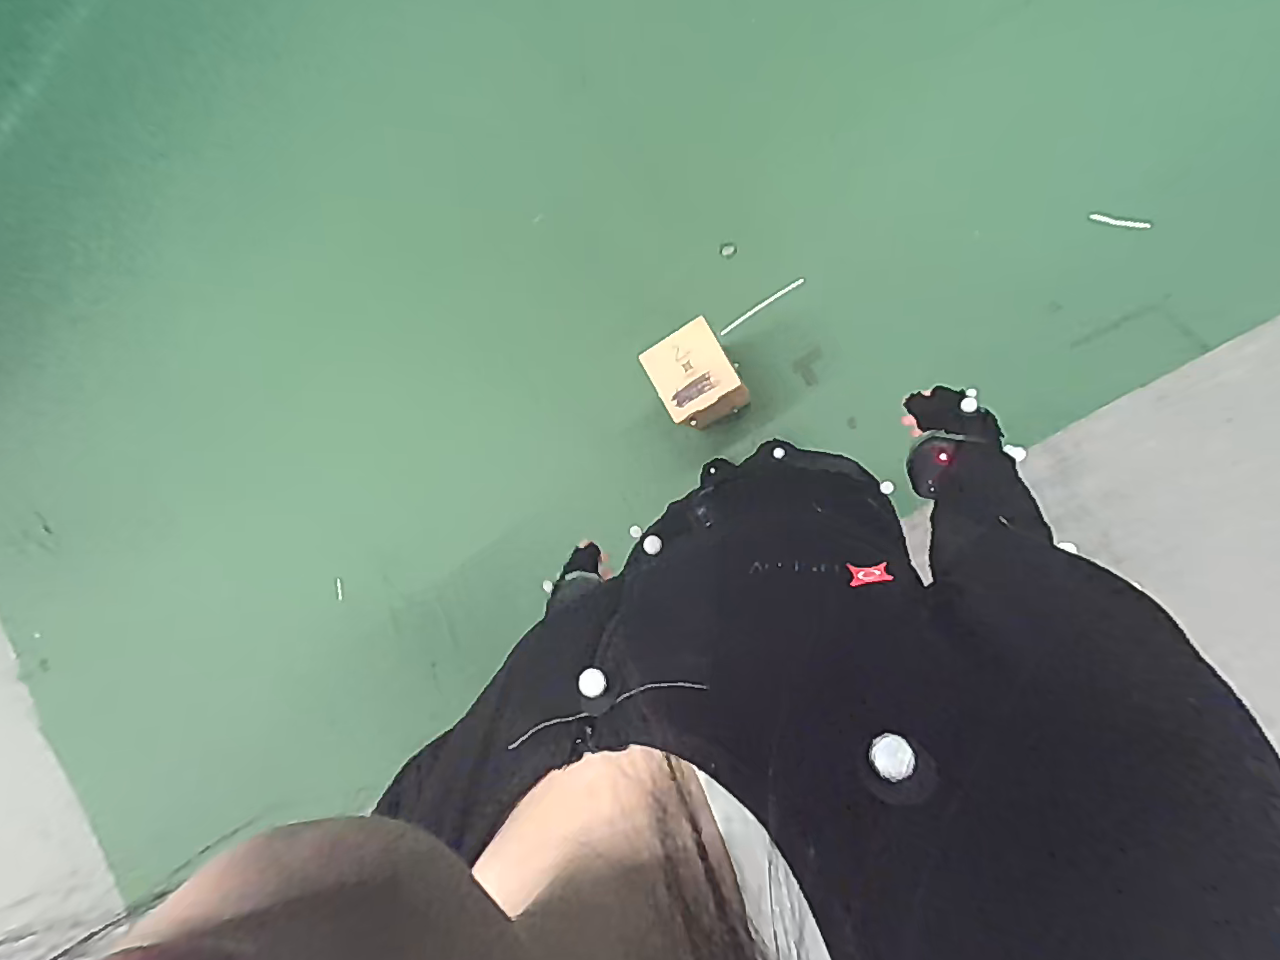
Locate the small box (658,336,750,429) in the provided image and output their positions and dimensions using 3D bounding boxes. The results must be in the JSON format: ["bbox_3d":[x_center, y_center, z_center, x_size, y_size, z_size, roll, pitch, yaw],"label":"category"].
[{"bbox_3d":[0.173,-0.244,1.396,0.168,0.176,0.179,-28,85,16],"label":"small box"}]
